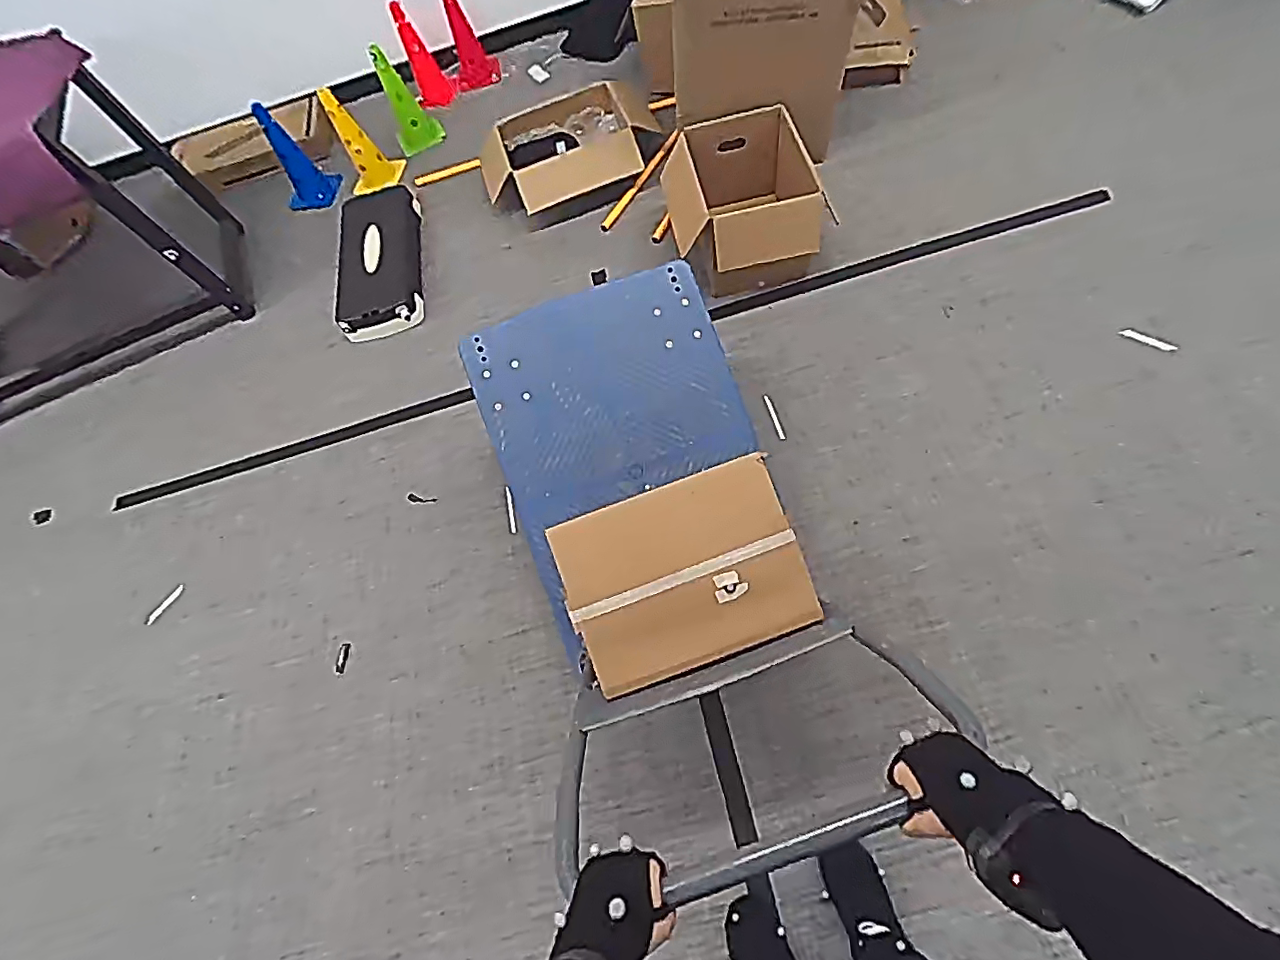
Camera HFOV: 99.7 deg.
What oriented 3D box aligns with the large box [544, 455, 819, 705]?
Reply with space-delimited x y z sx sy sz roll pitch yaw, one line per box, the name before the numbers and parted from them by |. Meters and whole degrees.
large box | 0.067 0.179 1.074 0.408 0.320 0.320 -21 88 -2
